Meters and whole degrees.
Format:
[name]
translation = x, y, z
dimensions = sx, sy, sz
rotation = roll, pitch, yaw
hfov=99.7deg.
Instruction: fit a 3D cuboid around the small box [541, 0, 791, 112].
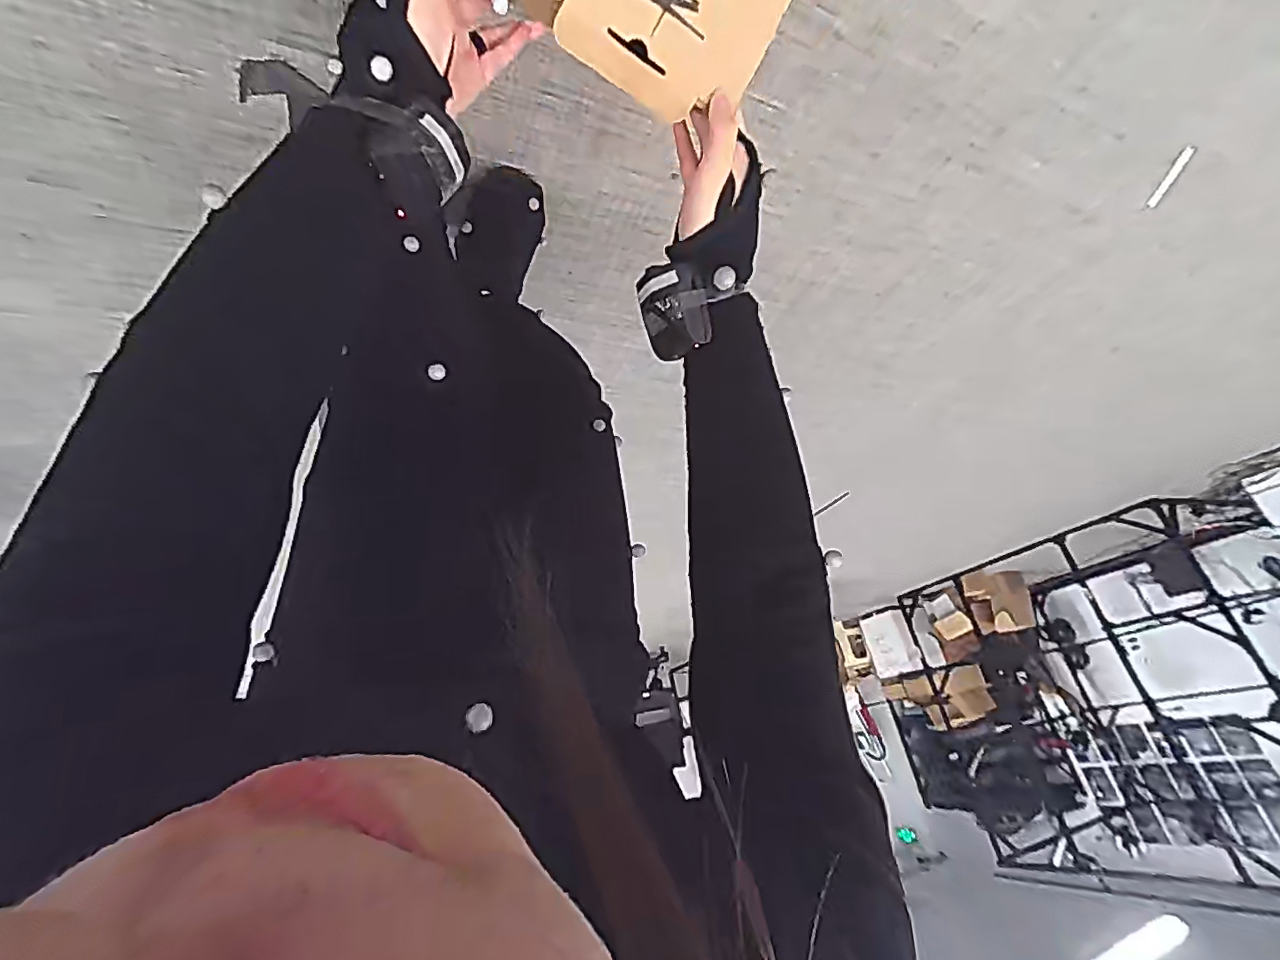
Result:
[small box]
translation = 0.007, -0.375, 0.330
dimensions = 0.168, 0.176, 0.179
rotation = 8, 127, -37
